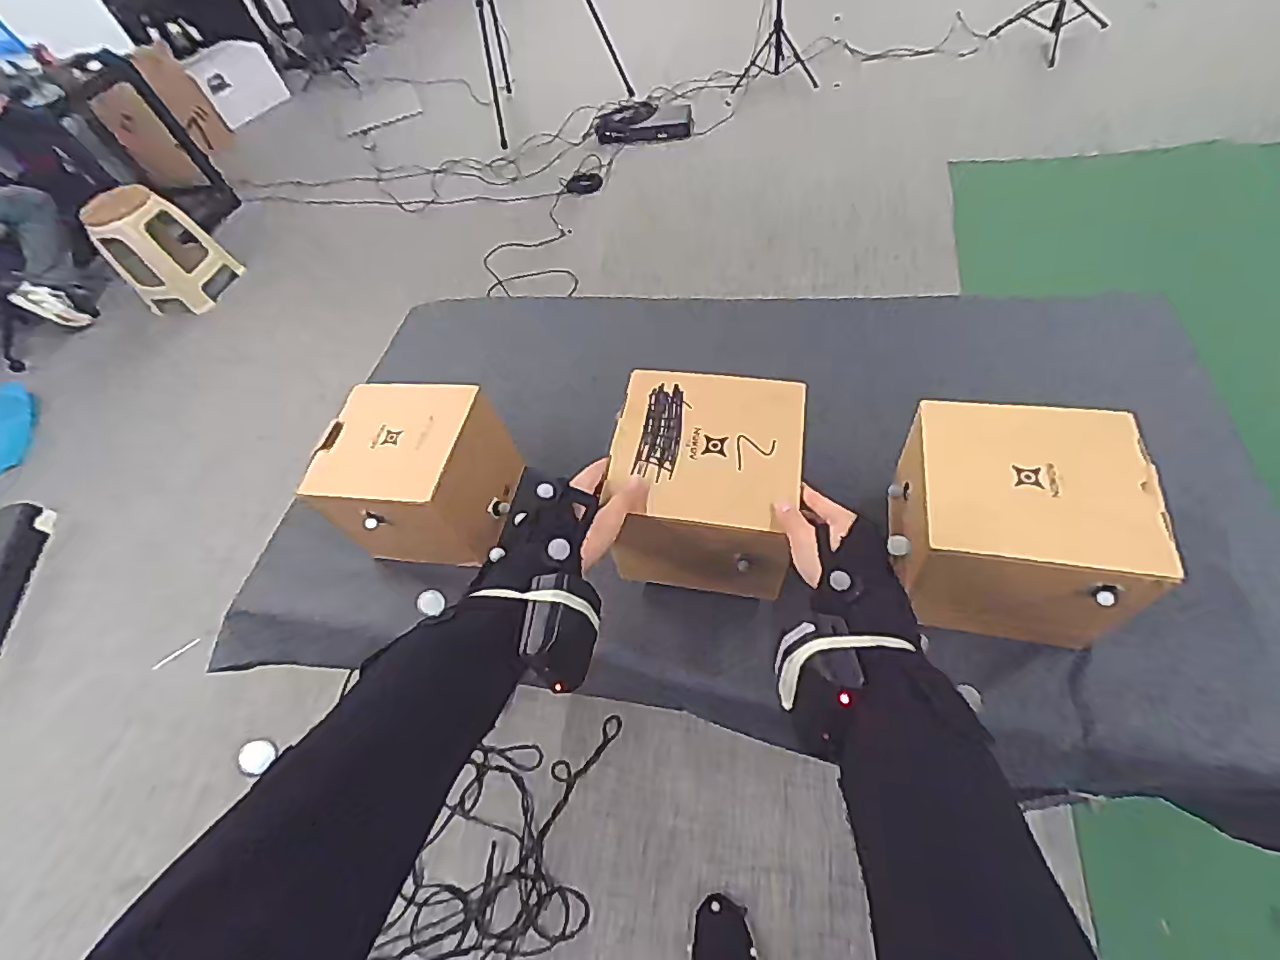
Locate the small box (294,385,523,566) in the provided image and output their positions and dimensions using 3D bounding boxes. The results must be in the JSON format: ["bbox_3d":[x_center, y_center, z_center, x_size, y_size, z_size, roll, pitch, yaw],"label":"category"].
[{"bbox_3d":[-0.273,-0.002,0.684,0.179,0.176,0.168,3,58,12],"label":"small box"}]

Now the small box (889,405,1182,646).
[{"bbox_3d":[0.348,0.047,0.526,0.179,0.176,0.168,6,57,15],"label":"small box"}]
